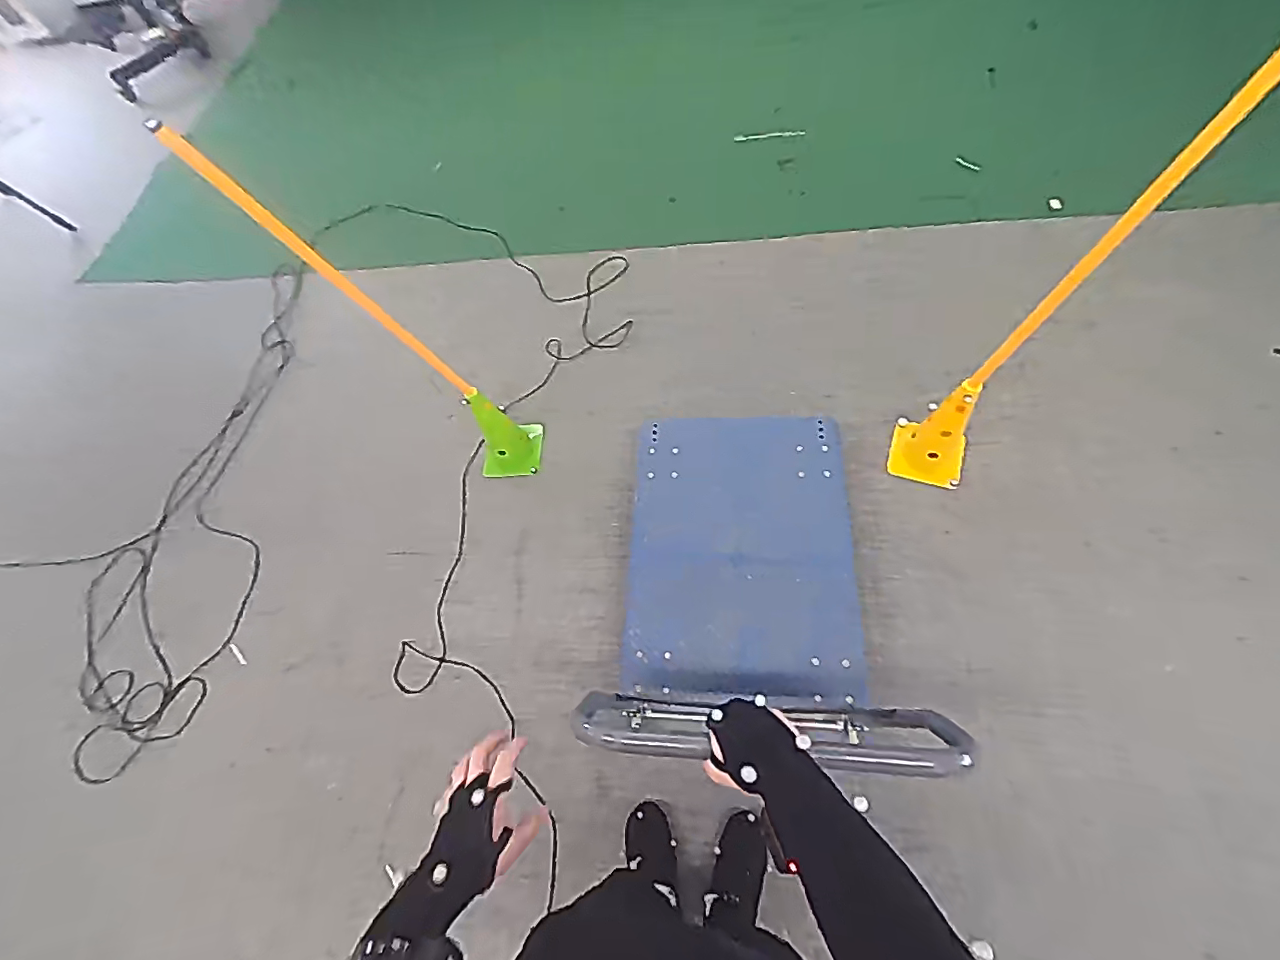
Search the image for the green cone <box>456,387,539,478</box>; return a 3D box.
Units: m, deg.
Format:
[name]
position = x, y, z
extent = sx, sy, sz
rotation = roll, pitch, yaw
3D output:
[green cone]
position = -0.475, -0.178, 1.708
extent = 0.202, 0.368, 0.200
rotation = -4, 63, 9
